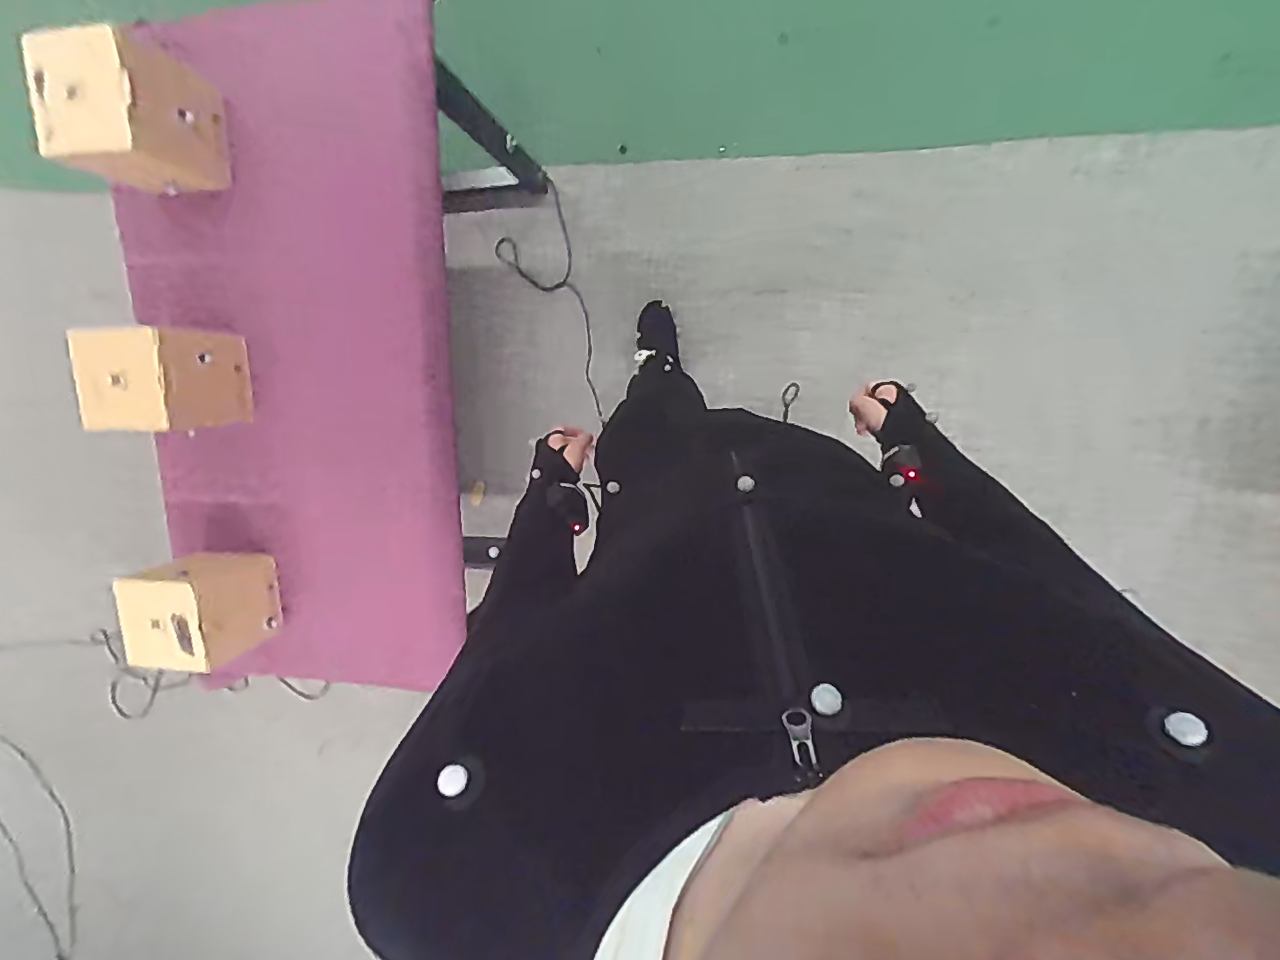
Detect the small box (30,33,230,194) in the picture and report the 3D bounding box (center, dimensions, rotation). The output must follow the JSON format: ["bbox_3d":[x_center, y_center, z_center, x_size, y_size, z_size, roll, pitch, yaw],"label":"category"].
[{"bbox_3d":[-0.815,-0.585,0.887,0.179,0.176,0.168,3,100,10],"label":"small box"}]

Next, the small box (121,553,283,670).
[{"bbox_3d":[-0.818,0.242,1.032,0.179,0.176,0.168,0,99,12],"label":"small box"}]

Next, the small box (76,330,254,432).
[{"bbox_3d":[-0.827,-0.176,0.963,0.179,0.176,0.168,1,99,11],"label":"small box"}]
